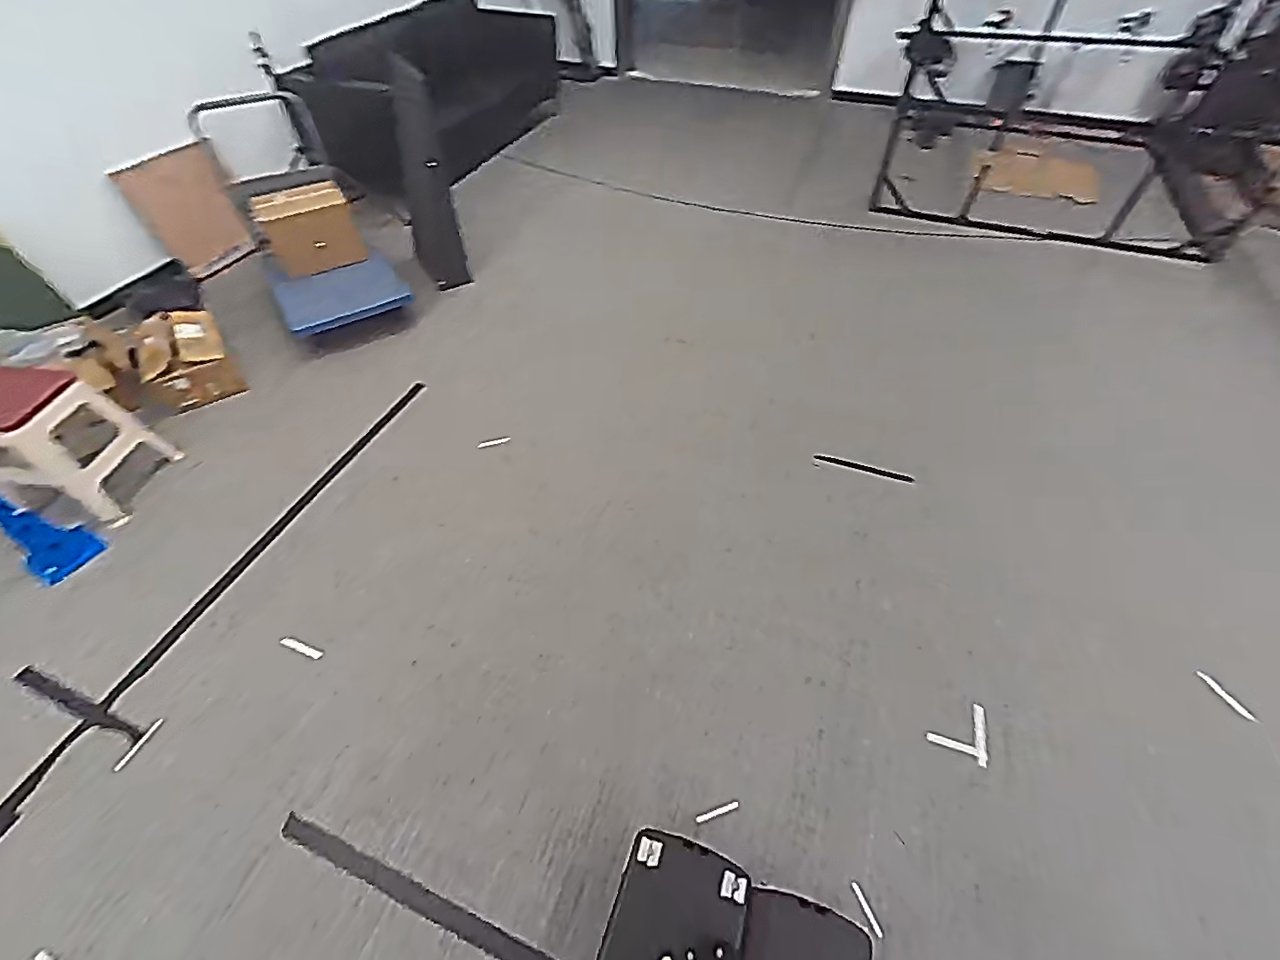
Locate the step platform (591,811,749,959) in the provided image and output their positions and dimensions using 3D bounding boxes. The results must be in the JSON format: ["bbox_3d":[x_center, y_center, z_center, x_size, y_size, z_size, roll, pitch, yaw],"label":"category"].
[{"bbox_3d":[0.019,1.097,1.126,0.286,0.204,0.684,15,51,12],"label":"step platform"}]
